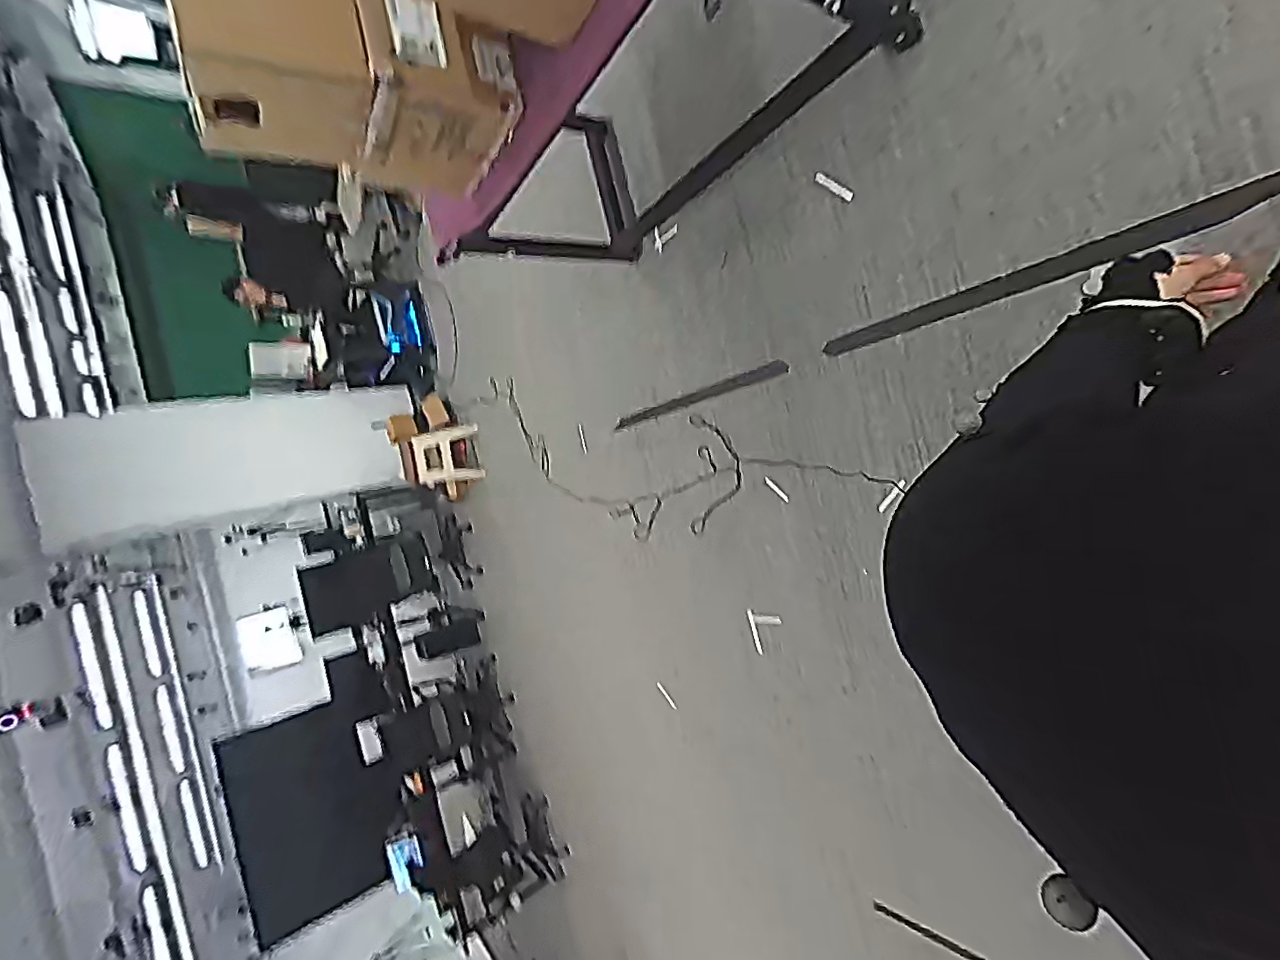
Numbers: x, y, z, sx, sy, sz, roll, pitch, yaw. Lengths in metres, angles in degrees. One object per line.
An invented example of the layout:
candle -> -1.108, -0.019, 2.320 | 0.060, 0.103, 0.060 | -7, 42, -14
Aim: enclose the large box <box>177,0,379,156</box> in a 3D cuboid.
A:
large box -> -0.769, -0.975, 1.129 | 0.320, 0.320, 0.408 | -8, 95, 59
